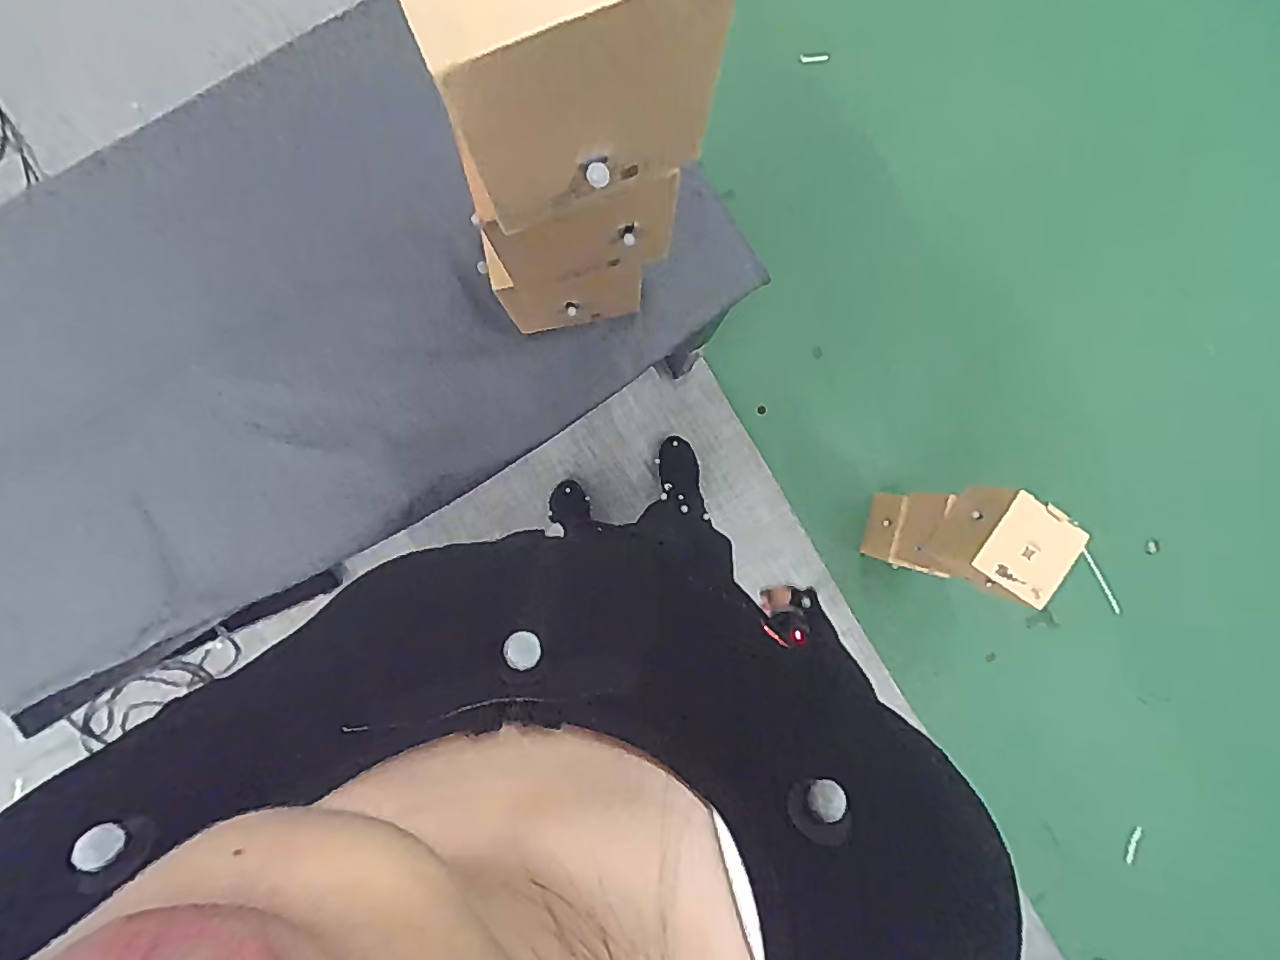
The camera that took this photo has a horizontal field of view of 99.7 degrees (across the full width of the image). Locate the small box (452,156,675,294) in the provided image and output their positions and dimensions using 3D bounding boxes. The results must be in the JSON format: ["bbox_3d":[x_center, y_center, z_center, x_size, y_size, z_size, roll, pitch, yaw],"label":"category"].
[{"bbox_3d":[-0.073,-0.289,0.494,0.168,0.176,0.179,-16,89,-2],"label":"small box"}]

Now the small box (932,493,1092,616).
[{"bbox_3d":[0.736,0.139,1.095,0.168,0.176,0.179,34,90,-2],"label":"small box"}]

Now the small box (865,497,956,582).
[{"bbox_3d":[0.717,0.149,1.423,0.168,0.176,0.179,14,90,-1],"label":"small box"}]

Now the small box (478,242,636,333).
[{"bbox_3d":[-0.097,-0.290,0.656,0.168,0.176,0.179,-11,89,-1],"label":"small box"}]
